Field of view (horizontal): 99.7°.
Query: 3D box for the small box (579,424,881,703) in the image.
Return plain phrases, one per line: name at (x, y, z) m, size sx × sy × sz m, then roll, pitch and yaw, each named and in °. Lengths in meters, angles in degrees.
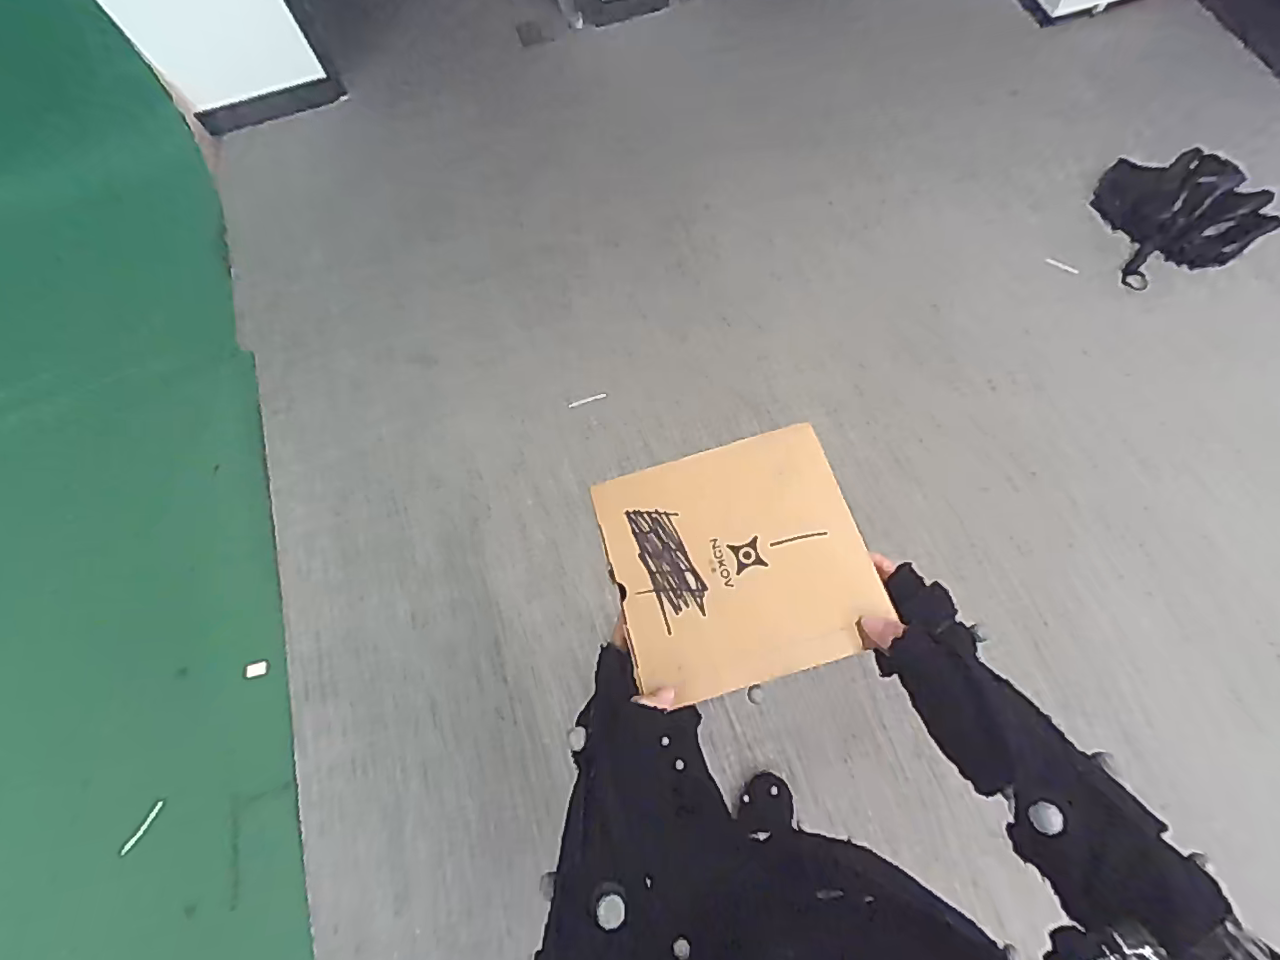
small box at (0.065, 0.080, 0.454) m, size 0.179 × 0.176 × 0.168 m, roll -16°, pitch 69°, yaw 0°
